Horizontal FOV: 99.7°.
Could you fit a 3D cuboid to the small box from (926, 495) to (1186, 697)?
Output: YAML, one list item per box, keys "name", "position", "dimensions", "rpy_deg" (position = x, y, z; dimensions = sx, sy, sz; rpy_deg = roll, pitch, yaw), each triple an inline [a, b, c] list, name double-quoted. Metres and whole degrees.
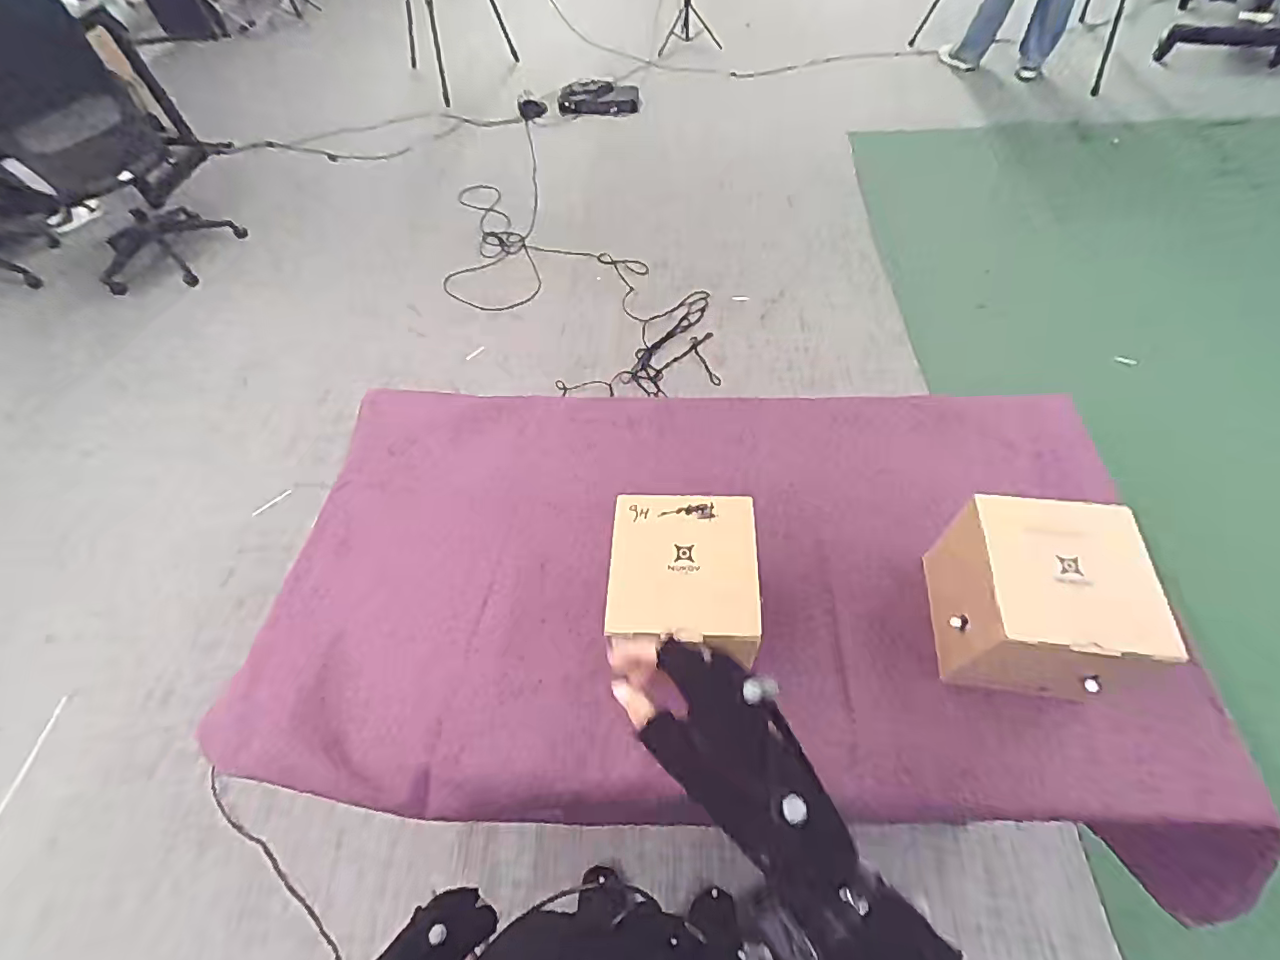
- name: "small box"
  position: [0.458, 0.140, 0.635]
  dimensions: [0.168, 0.176, 0.179]
  rpy_deg: [6, 56, 8]

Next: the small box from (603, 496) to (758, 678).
- name: "small box"
  position: [0.054, 0.137, 0.671]
  dimensions: [0.168, 0.176, 0.179]
  rpy_deg: [1, 56, 5]
